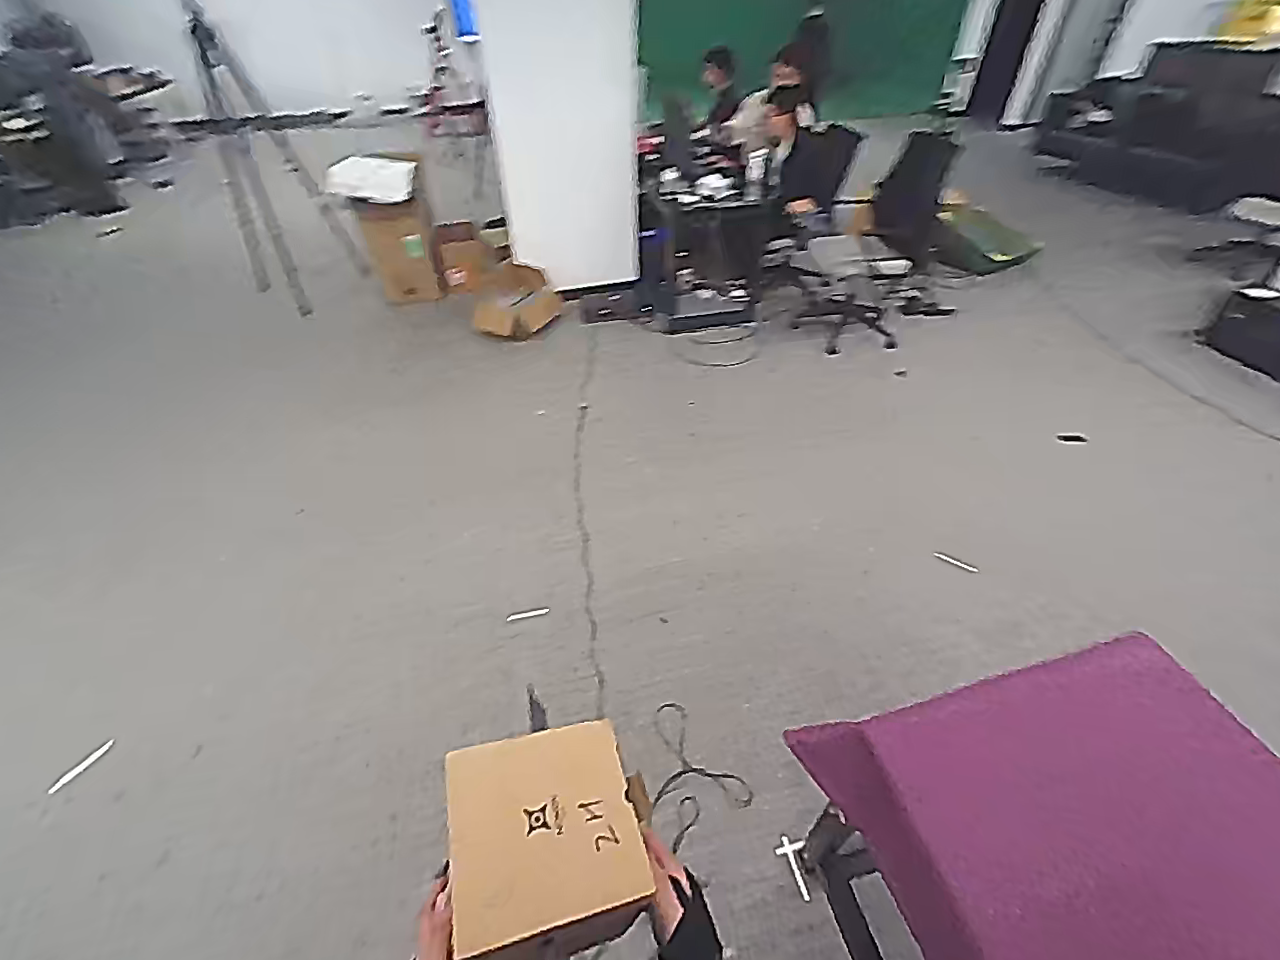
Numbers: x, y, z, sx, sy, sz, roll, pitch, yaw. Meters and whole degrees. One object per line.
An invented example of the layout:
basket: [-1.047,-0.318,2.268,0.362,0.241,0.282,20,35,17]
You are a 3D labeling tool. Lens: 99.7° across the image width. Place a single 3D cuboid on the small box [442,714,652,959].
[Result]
small box: [-0.107,0.377,0.562,0.179,0.176,0.168,-3,42,-22]
